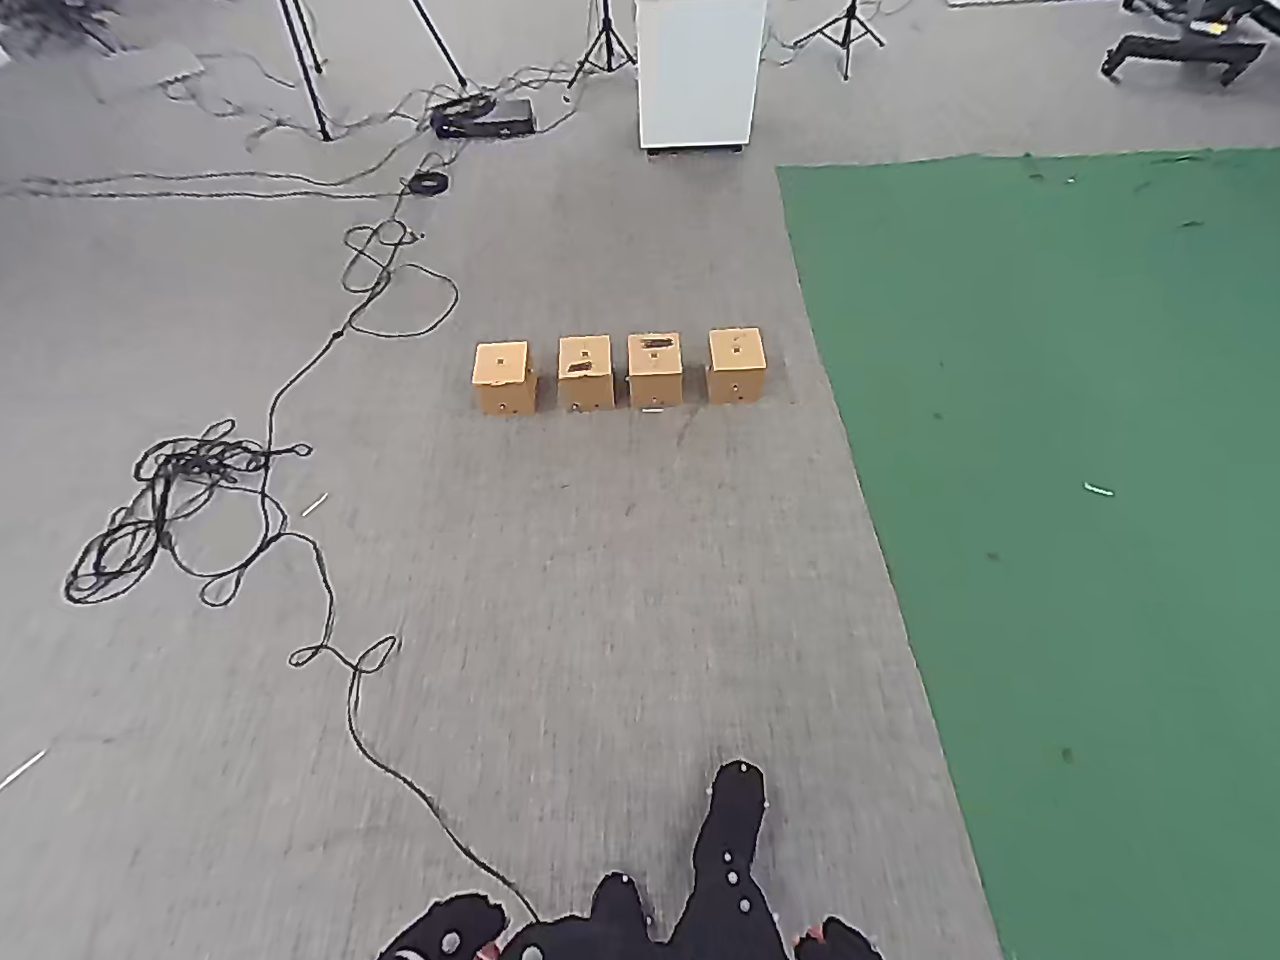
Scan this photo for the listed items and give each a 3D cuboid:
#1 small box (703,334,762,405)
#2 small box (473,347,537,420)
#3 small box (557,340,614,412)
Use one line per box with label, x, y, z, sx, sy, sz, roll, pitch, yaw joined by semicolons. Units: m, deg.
small box;0.303;-0.362;1.802;0.168;0.176;0.179;-2;59;0
small box;-0.443;-0.319;1.802;0.168;0.176;0.179;-3;59;0
small box;-0.178;-0.340;1.802;0.168;0.176;0.179;-4;58;0
